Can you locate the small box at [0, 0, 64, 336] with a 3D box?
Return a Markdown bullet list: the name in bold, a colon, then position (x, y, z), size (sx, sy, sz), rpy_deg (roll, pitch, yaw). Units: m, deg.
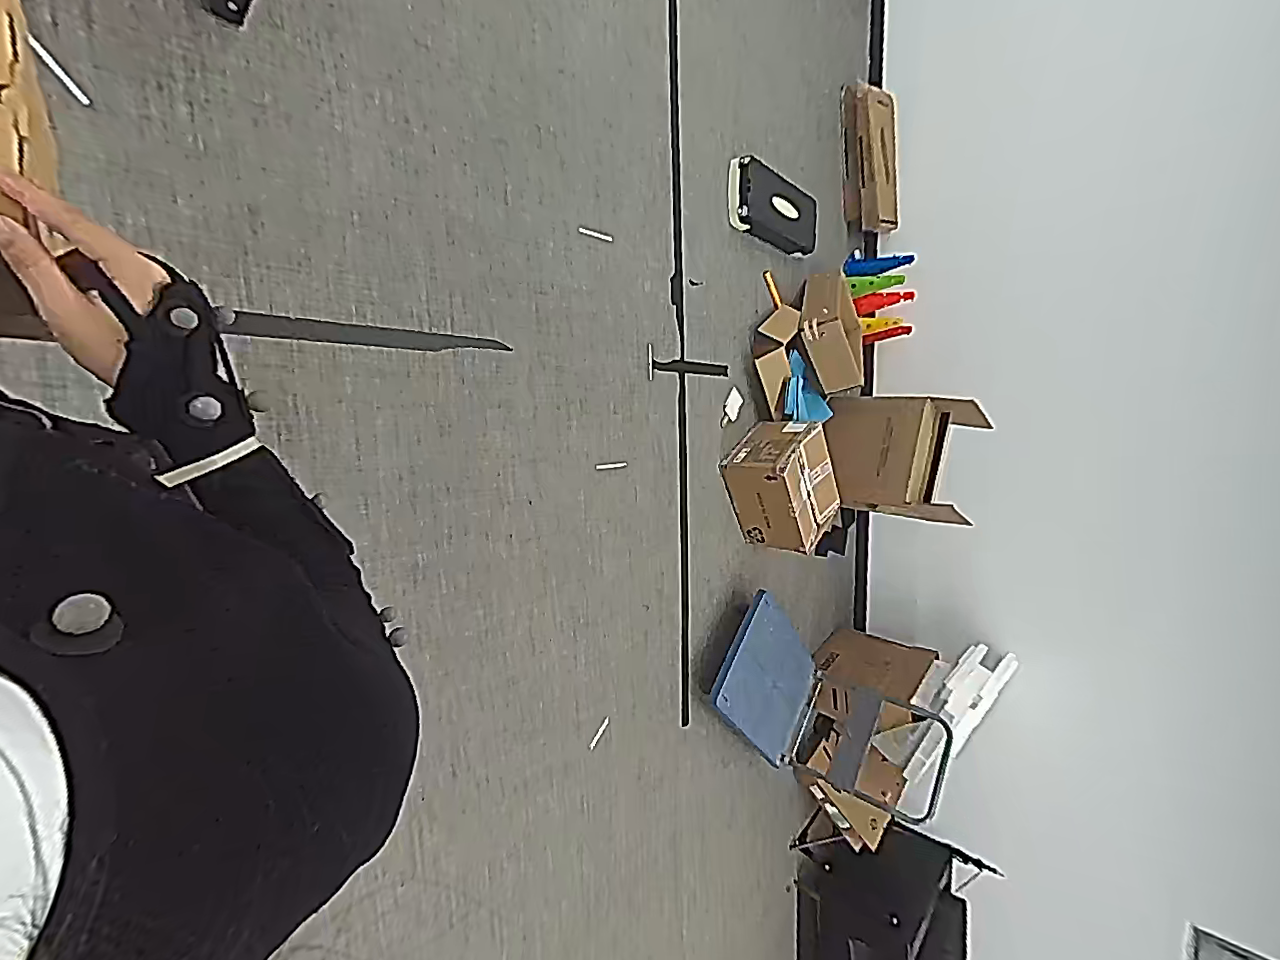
- **small box**: position (-0.465, -0.195, 0.306), size (0.179, 0.176, 0.168), rpy_deg (-4, 83, -44)
